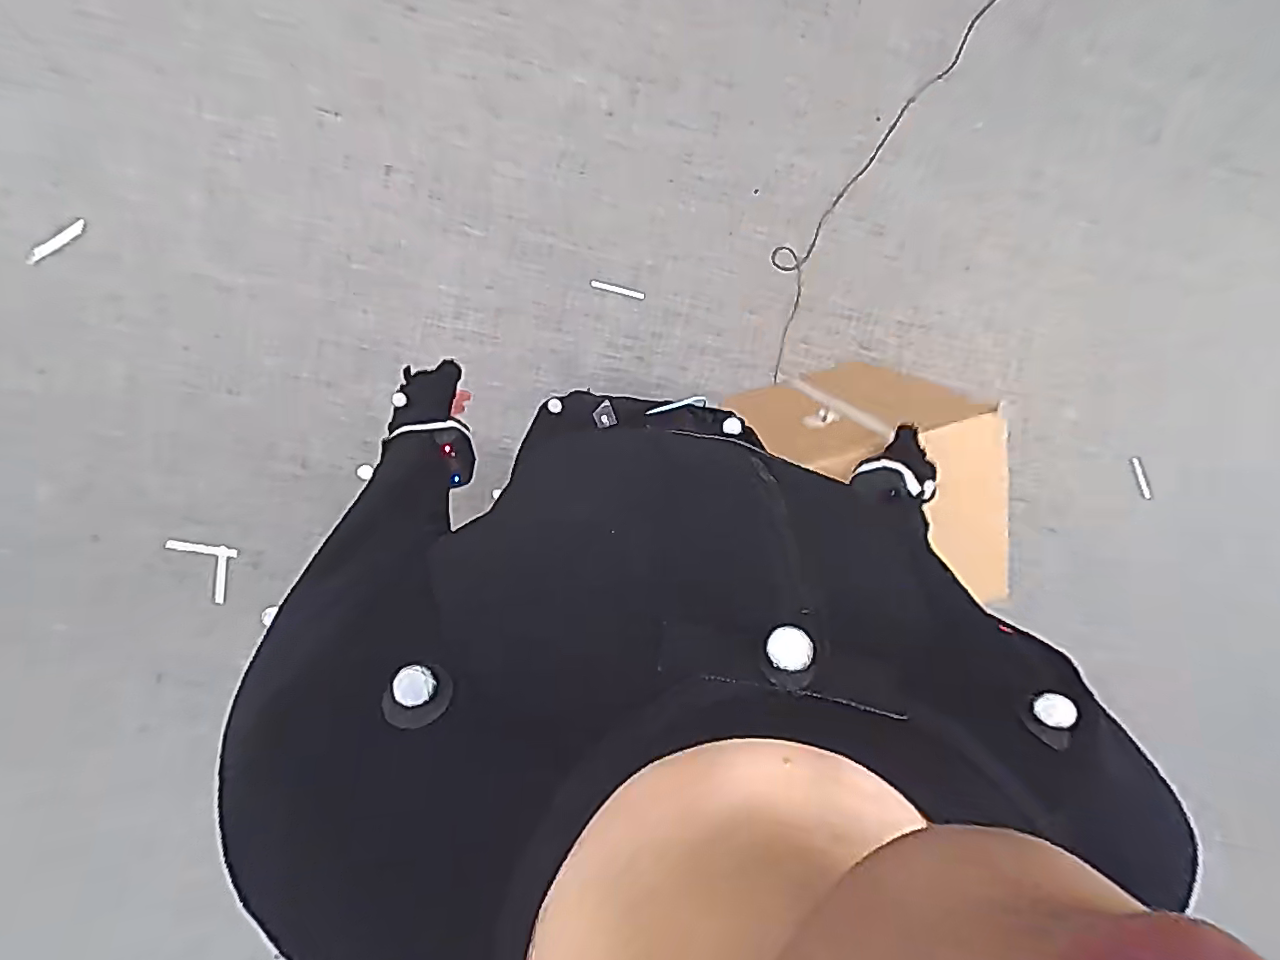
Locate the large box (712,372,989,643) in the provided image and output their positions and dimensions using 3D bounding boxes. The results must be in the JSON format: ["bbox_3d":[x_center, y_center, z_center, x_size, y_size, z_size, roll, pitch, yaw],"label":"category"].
[{"bbox_3d":[0.350,0.021,0.985,0.320,0.408,0.320,-16,112,0],"label":"large box"}]
